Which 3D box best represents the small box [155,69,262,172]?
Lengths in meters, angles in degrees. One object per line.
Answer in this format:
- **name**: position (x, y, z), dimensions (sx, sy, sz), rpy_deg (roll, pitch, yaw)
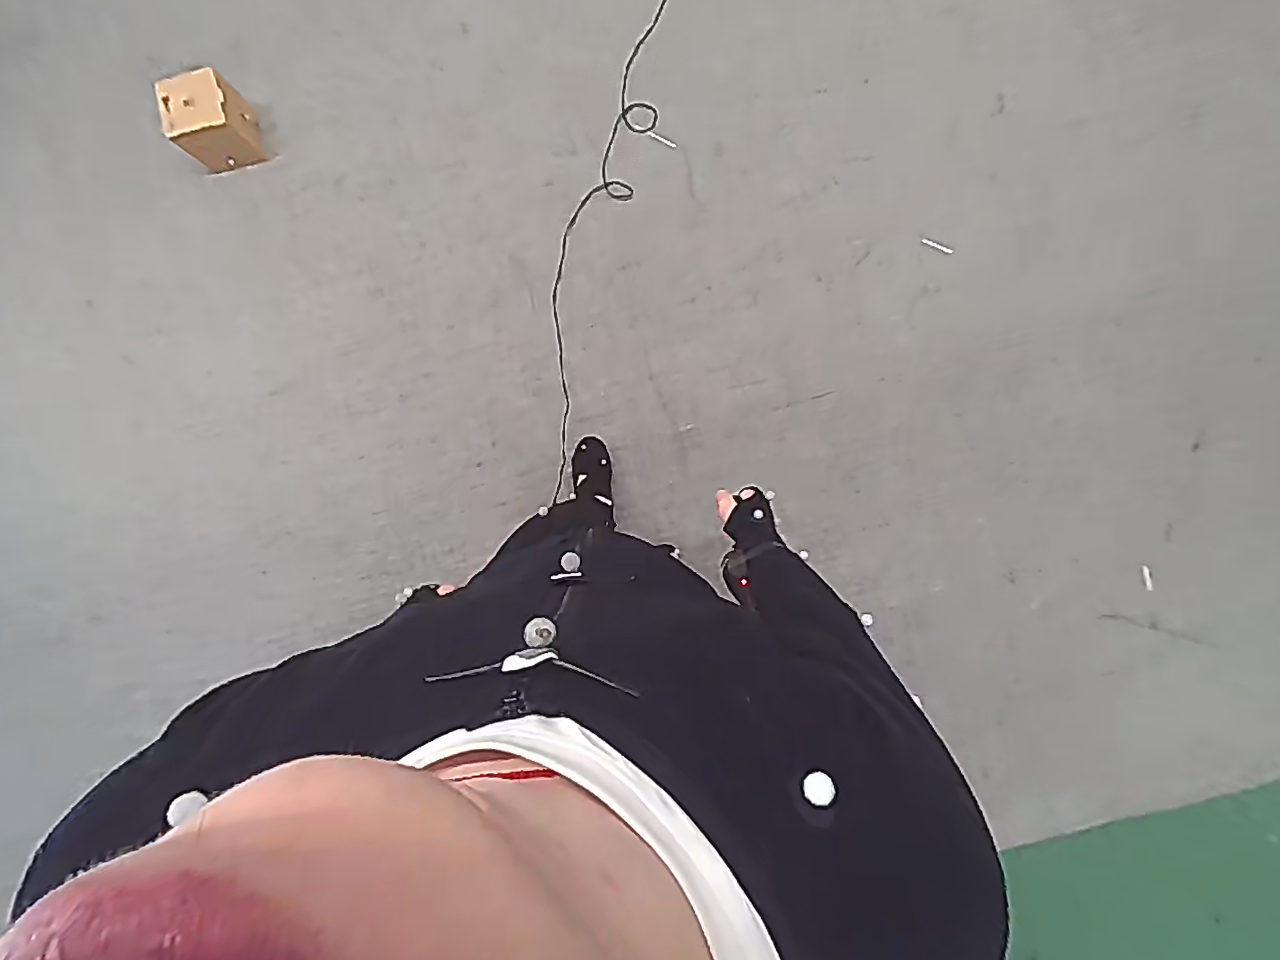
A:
- **small box**: position (-1.235, -1.034, 1.566), dimensions (0.179, 0.176, 0.168), rpy_deg (-13, 87, 1)
